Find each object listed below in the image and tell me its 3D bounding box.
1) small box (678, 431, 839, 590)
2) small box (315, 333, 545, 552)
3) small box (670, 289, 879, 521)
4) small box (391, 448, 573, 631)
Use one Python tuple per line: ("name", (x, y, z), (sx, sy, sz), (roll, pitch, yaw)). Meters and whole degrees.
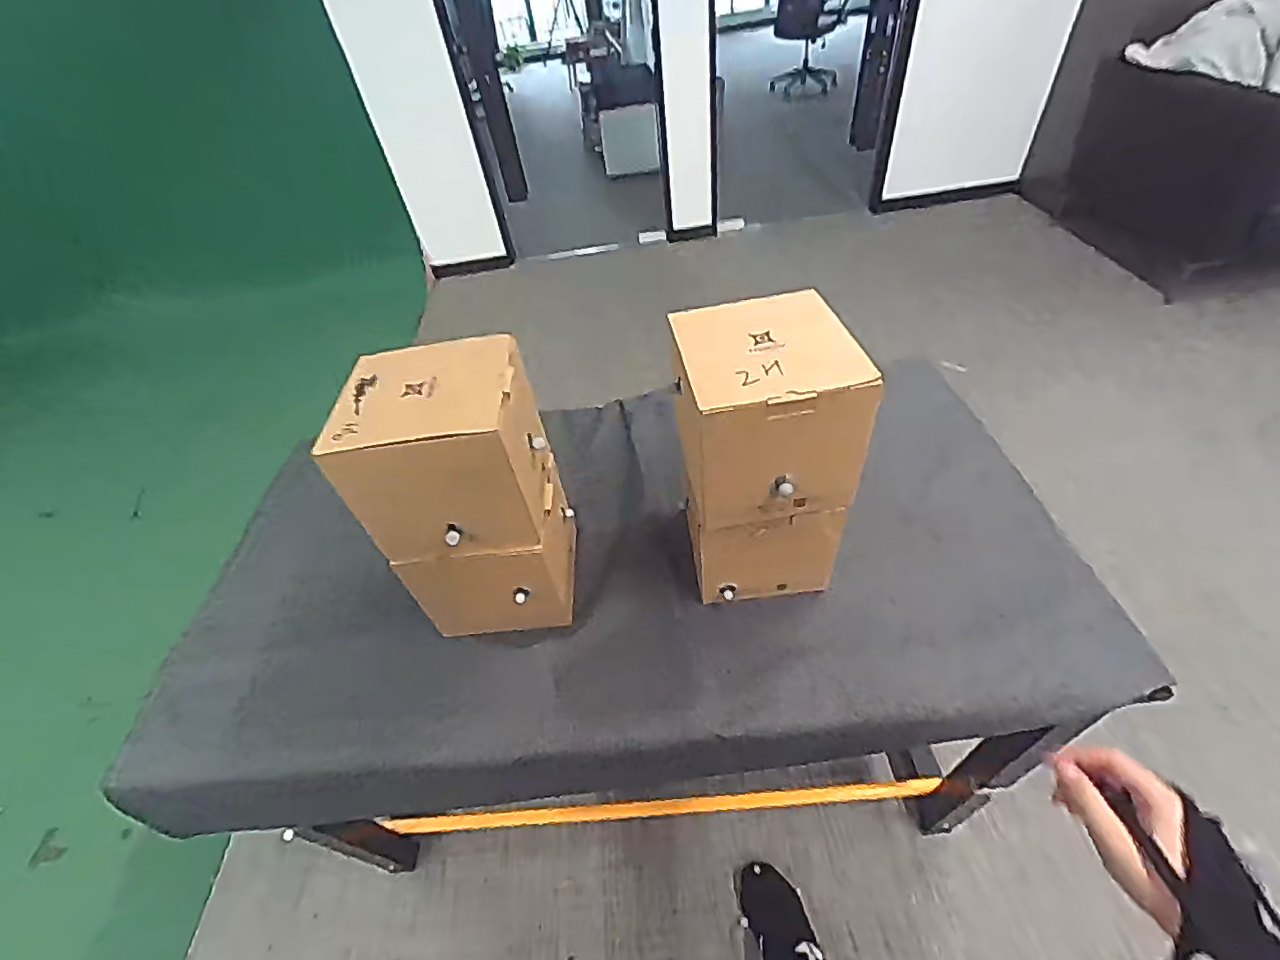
("small box", (0.145, 0.030, 0.711), (0.168, 0.176, 0.179), (-7, 45, 1))
("small box", (-0.208, -0.039, 0.601), (0.179, 0.176, 0.168), (-7, 45, 1))
("small box", (0.129, -0.082, 0.591), (0.168, 0.176, 0.179), (-10, 46, -1))
("small box", (-0.189, 0.080, 0.712), (0.179, 0.176, 0.168), (-7, 45, 2))
